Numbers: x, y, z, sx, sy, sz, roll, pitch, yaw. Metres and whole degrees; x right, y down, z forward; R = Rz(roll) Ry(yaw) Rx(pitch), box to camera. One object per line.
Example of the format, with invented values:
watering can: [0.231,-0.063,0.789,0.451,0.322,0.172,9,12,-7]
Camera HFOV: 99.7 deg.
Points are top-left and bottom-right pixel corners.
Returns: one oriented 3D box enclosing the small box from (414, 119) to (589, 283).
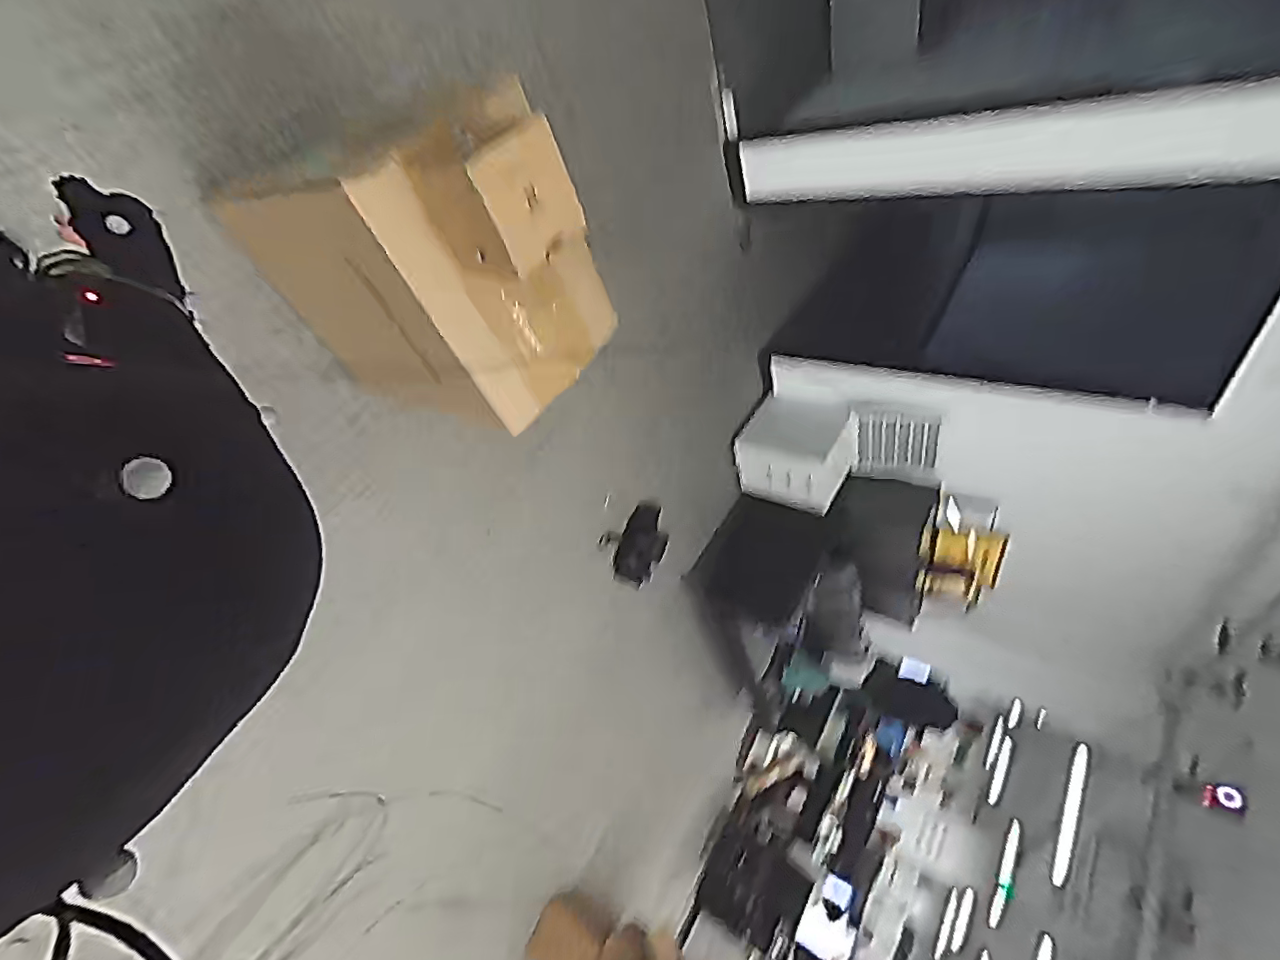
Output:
small box: [-0.219,-0.443,0.868,0.168,0.176,0.179,-50,138,-22]
